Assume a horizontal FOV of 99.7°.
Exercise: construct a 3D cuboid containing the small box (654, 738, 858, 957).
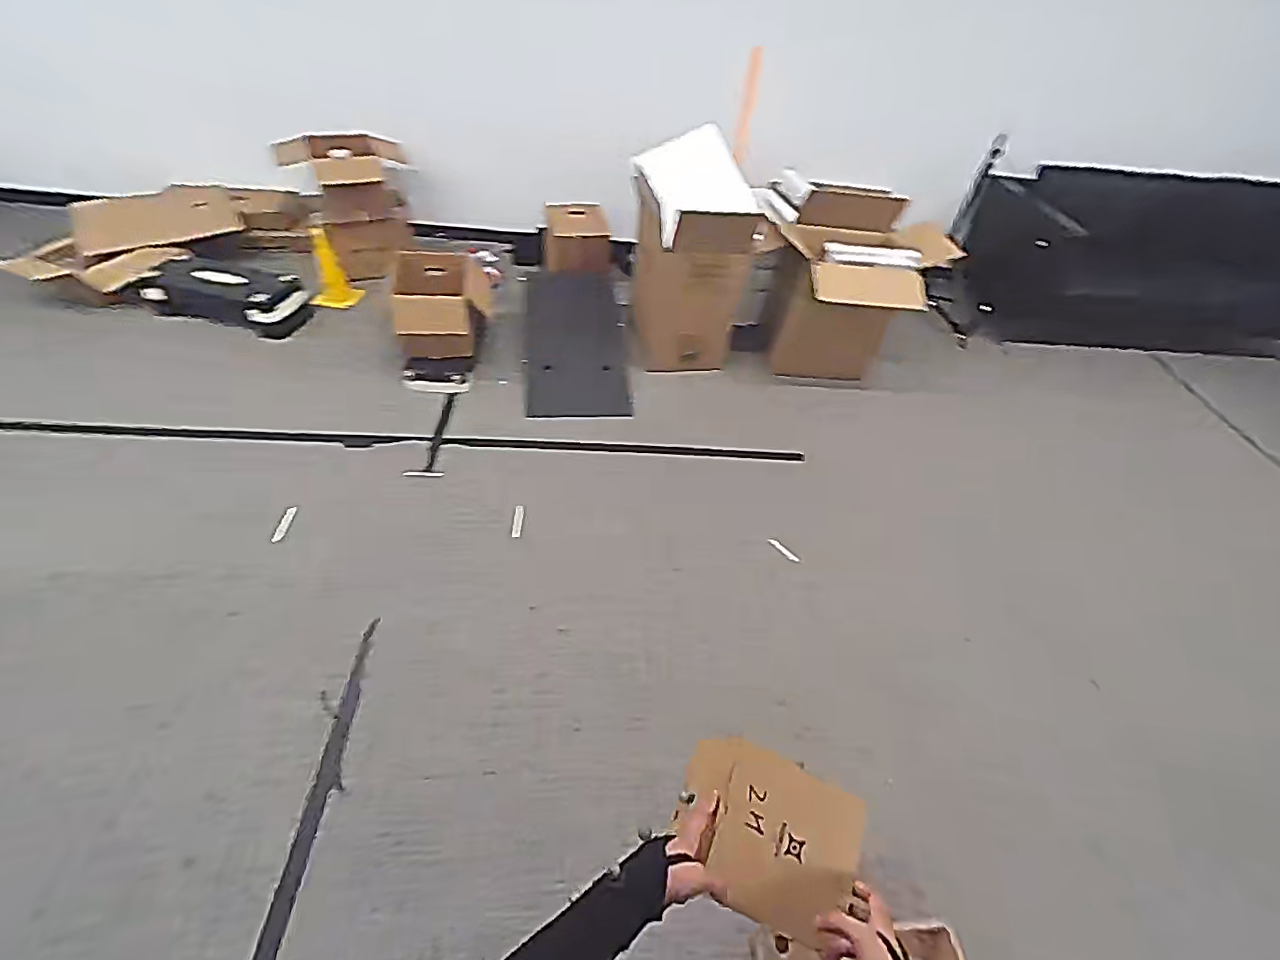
[{"bbox_3d":[0.140,0.446,0.687,0.179,0.176,0.168,26,61,-1],"label":"small box"}]
